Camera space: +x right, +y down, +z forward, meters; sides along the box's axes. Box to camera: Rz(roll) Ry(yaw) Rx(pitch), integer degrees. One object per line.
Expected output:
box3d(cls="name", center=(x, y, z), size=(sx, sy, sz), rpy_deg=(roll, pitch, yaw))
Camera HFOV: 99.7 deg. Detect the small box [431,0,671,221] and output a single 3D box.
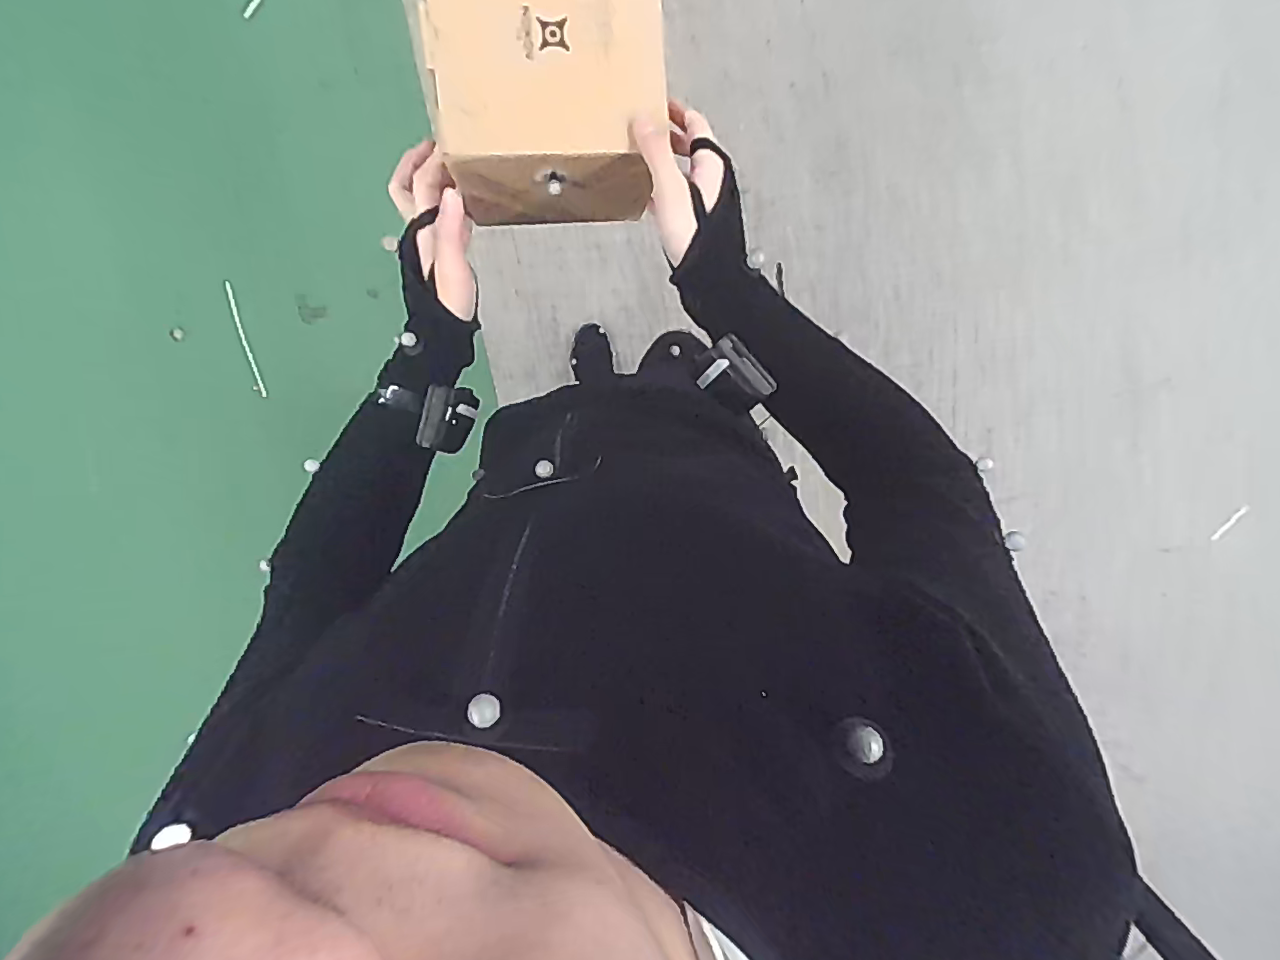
box3d(cls="small box", center=(-0.074, -0.344, 0.482), size=(0.179, 0.176, 0.168), rpy_deg=(-4, 98, -7))
